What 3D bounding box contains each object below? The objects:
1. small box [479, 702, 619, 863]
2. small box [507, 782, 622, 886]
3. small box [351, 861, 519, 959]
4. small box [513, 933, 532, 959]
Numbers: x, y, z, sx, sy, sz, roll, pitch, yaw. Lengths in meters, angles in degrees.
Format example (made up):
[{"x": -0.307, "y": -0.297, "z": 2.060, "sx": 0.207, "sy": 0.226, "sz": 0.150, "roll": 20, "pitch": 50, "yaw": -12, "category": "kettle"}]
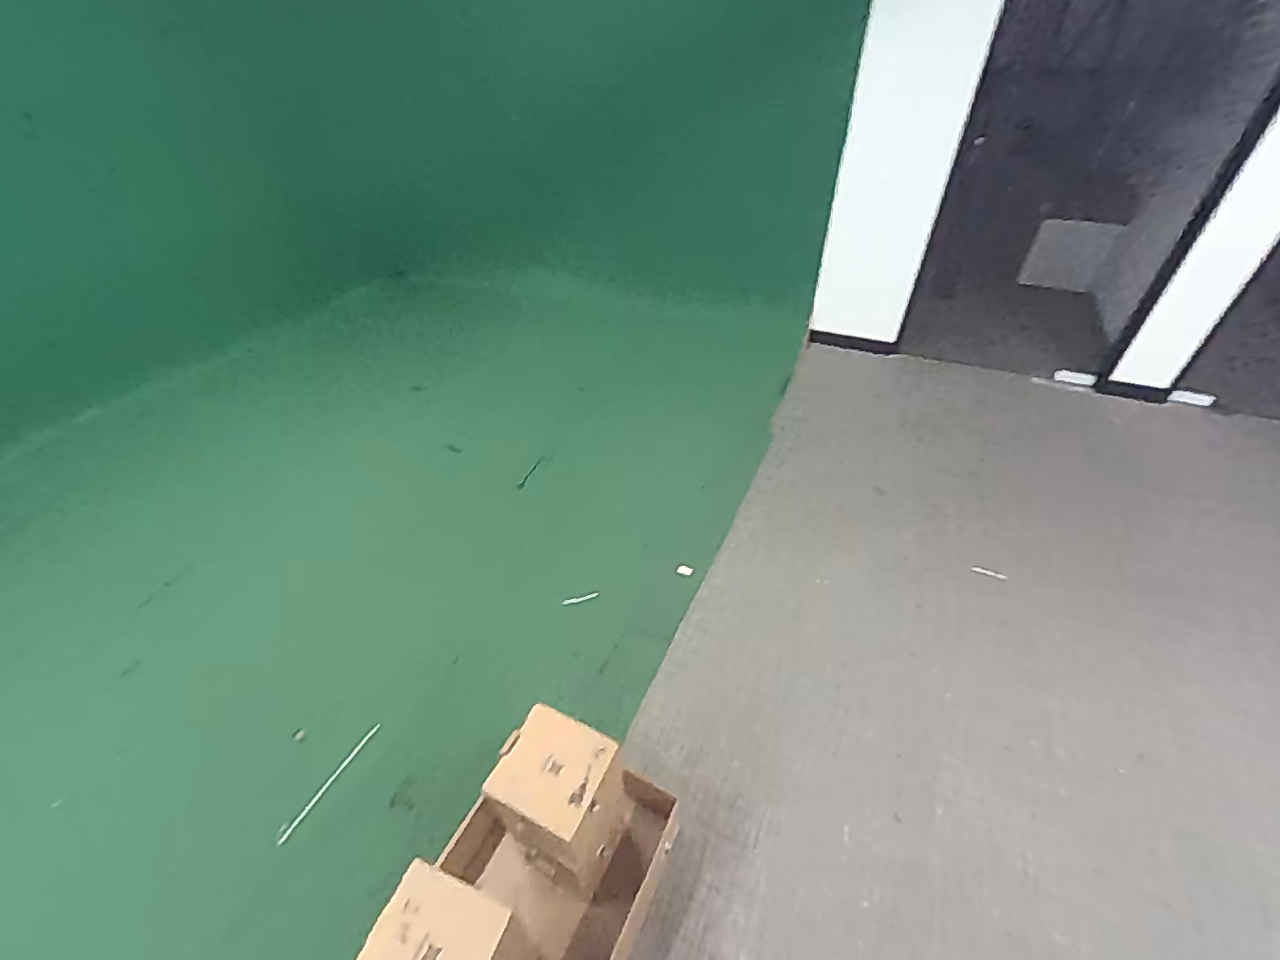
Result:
[{"x": -0.151, "y": 0.538, "z": 0.959, "sx": 0.179, "sy": 0.176, "sz": 0.168, "roll": 17, "pitch": 45, "yaw": 20, "category": "small box"}, {"x": -0.150, "y": 0.661, "z": 1.070, "sx": 0.179, "sy": 0.176, "sz": 0.168, "roll": 21, "pitch": 47, "yaw": 20, "category": "small box"}, {"x": -0.293, "y": 0.697, "z": 0.779, "sx": 0.179, "sy": 0.176, "sz": 0.168, "roll": 14, "pitch": 42, "yaw": 15, "category": "small box"}, {"x": -0.297, "y": 0.822, "z": 0.885, "sx": 0.179, "sy": 0.176, "sz": 0.168, "roll": 15, "pitch": 43, "yaw": 14, "category": "small box"}]
